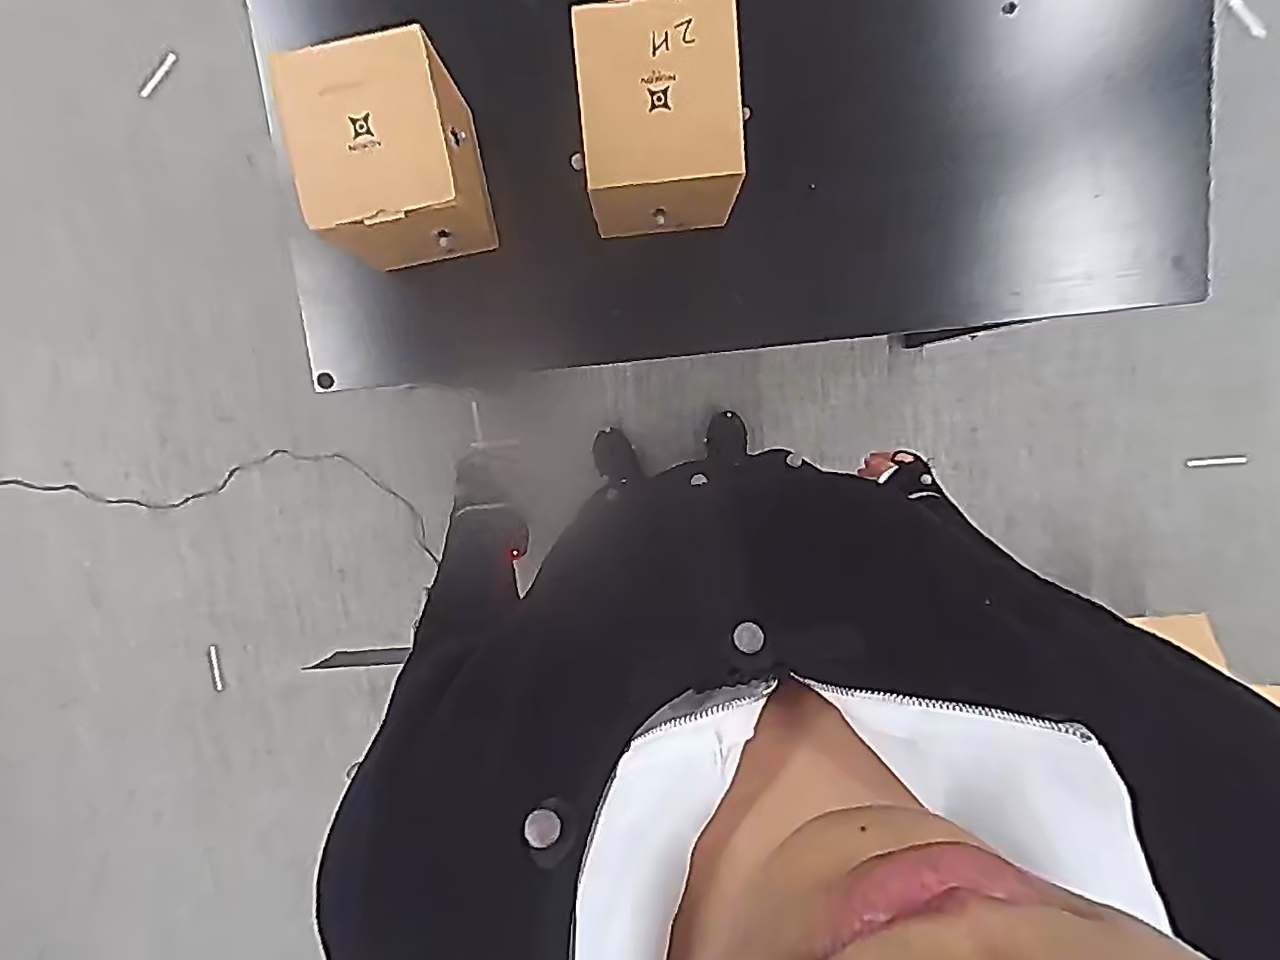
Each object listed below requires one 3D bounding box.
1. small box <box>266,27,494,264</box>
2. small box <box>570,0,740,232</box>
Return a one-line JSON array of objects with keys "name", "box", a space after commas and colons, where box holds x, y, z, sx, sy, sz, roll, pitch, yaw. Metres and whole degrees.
[{"name": "small box", "box": [-0.287, -0.370, 0.638, 0.168, 0.176, 0.179, -11, 96, 1]}, {"name": "small box", "box": [0.019, -0.402, 0.626, 0.168, 0.176, 0.179, -5, 97, 1]}]
